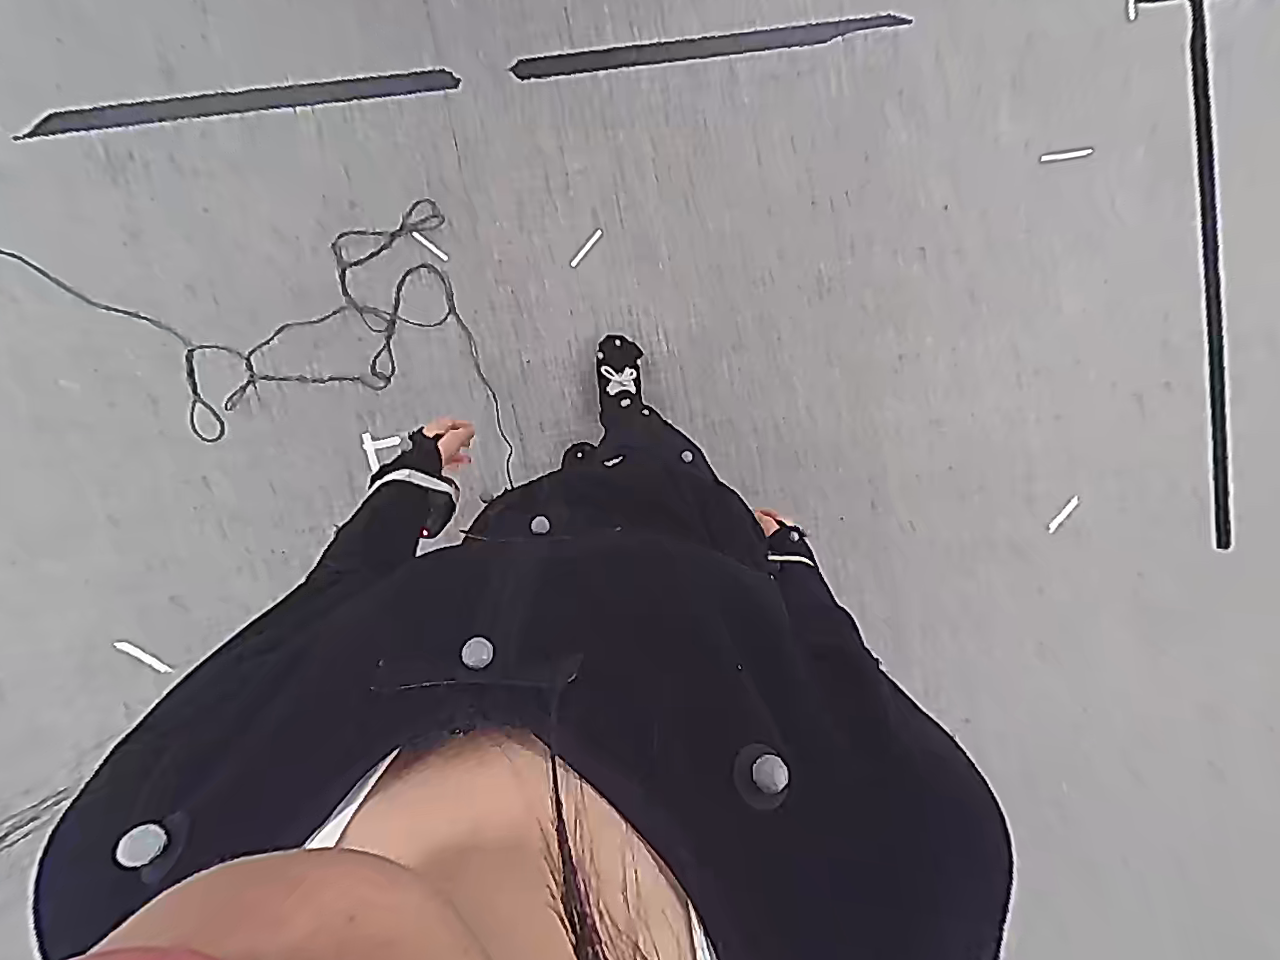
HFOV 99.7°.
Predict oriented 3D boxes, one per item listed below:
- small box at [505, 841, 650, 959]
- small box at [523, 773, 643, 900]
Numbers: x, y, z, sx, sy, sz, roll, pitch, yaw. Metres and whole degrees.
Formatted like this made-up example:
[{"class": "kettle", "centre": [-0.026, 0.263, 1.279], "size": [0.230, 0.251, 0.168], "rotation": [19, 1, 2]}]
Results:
[{"class": "small box", "centre": [-0.072, 0.626, 0.711], "size": [0.168, 0.176, 0.179], "rotation": [-9, 97, -5]}, {"class": "small box", "centre": [-0.089, 0.605, 0.875], "size": [0.168, 0.176, 0.179], "rotation": [-8, 97, -5]}]
